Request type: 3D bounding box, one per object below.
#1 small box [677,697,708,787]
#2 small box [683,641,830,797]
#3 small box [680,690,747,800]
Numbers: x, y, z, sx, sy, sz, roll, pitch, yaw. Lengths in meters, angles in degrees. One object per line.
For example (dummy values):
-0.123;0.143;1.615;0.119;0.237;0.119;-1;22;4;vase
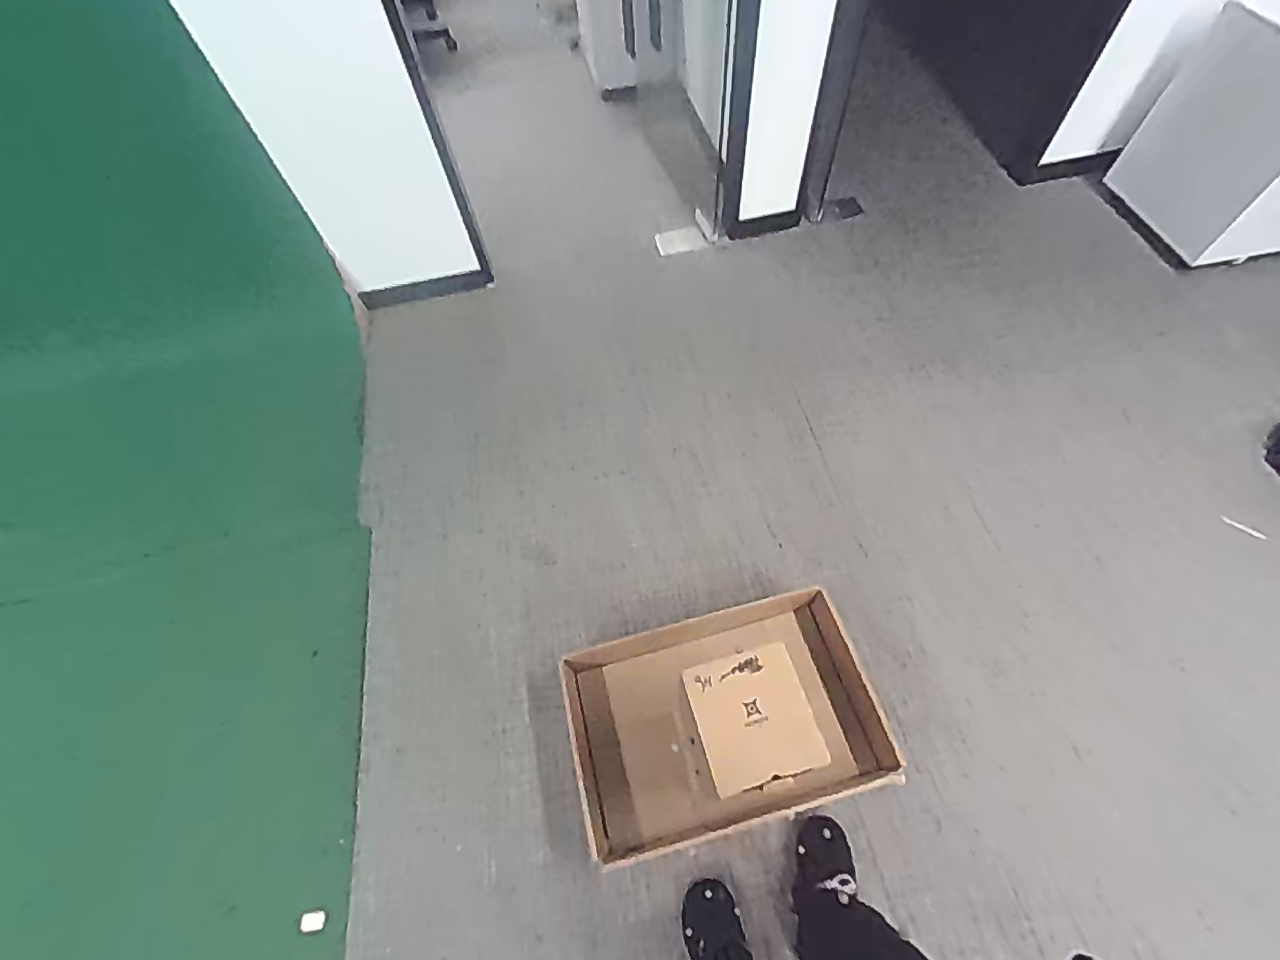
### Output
0.181;0.533;1.135;0.179;0.176;0.168;-15;59;-2;small box
0.170;0.377;0.850;0.168;0.176;0.179;-15;60;-5;small box
0.178;0.453;0.976;0.168;0.176;0.179;-18;61;-6;small box
